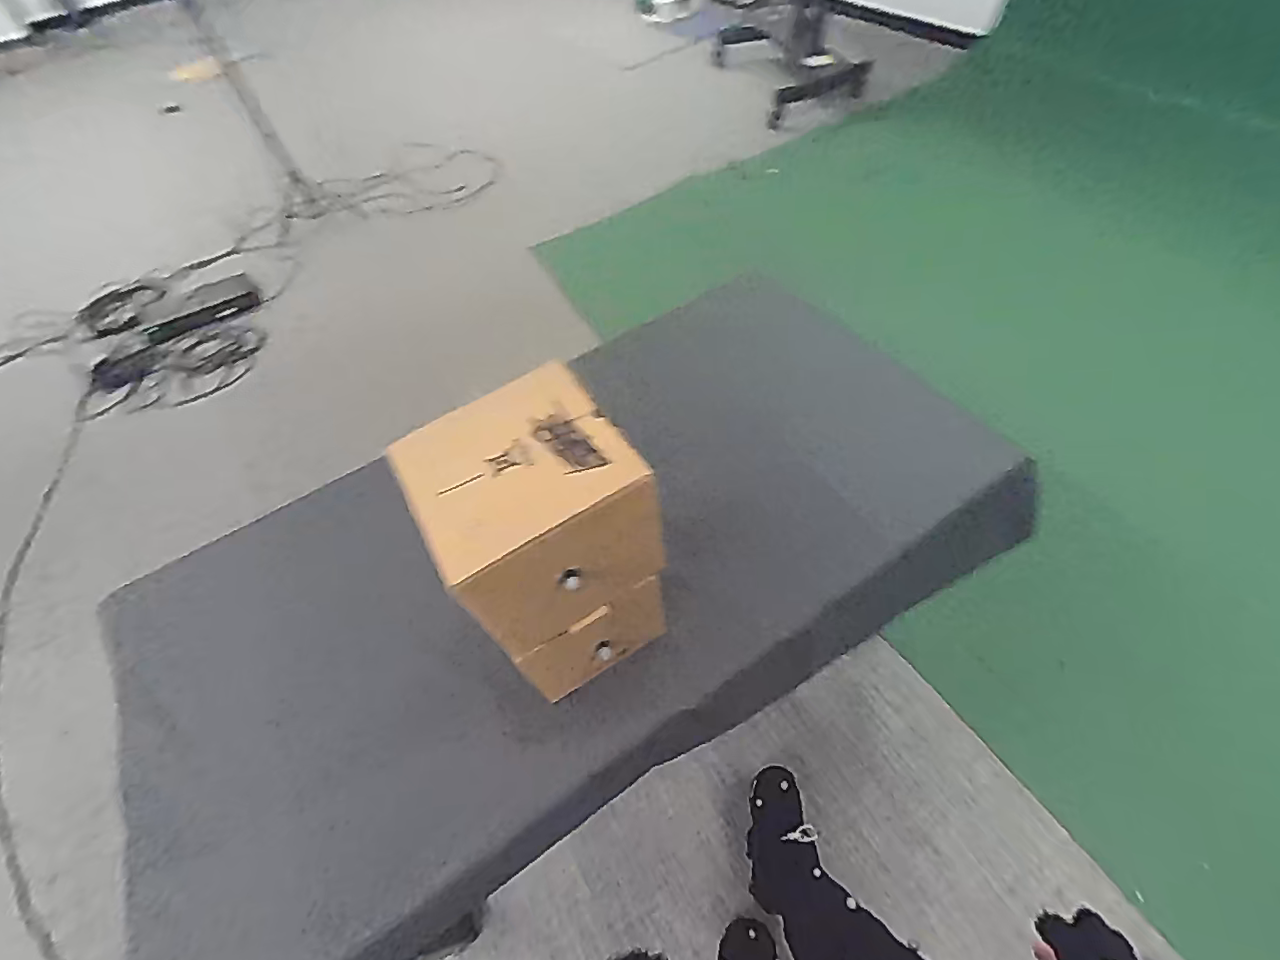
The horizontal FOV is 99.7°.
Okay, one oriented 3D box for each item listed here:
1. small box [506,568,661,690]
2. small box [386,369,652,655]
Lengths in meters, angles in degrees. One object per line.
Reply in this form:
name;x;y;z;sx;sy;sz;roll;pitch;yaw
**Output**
small box;-0.088;0.129;0.651;0.168;0.176;0.179;-31;57;-13
small box;-0.100;0.034;0.517;0.179;0.176;0.168;-32;57;-13
